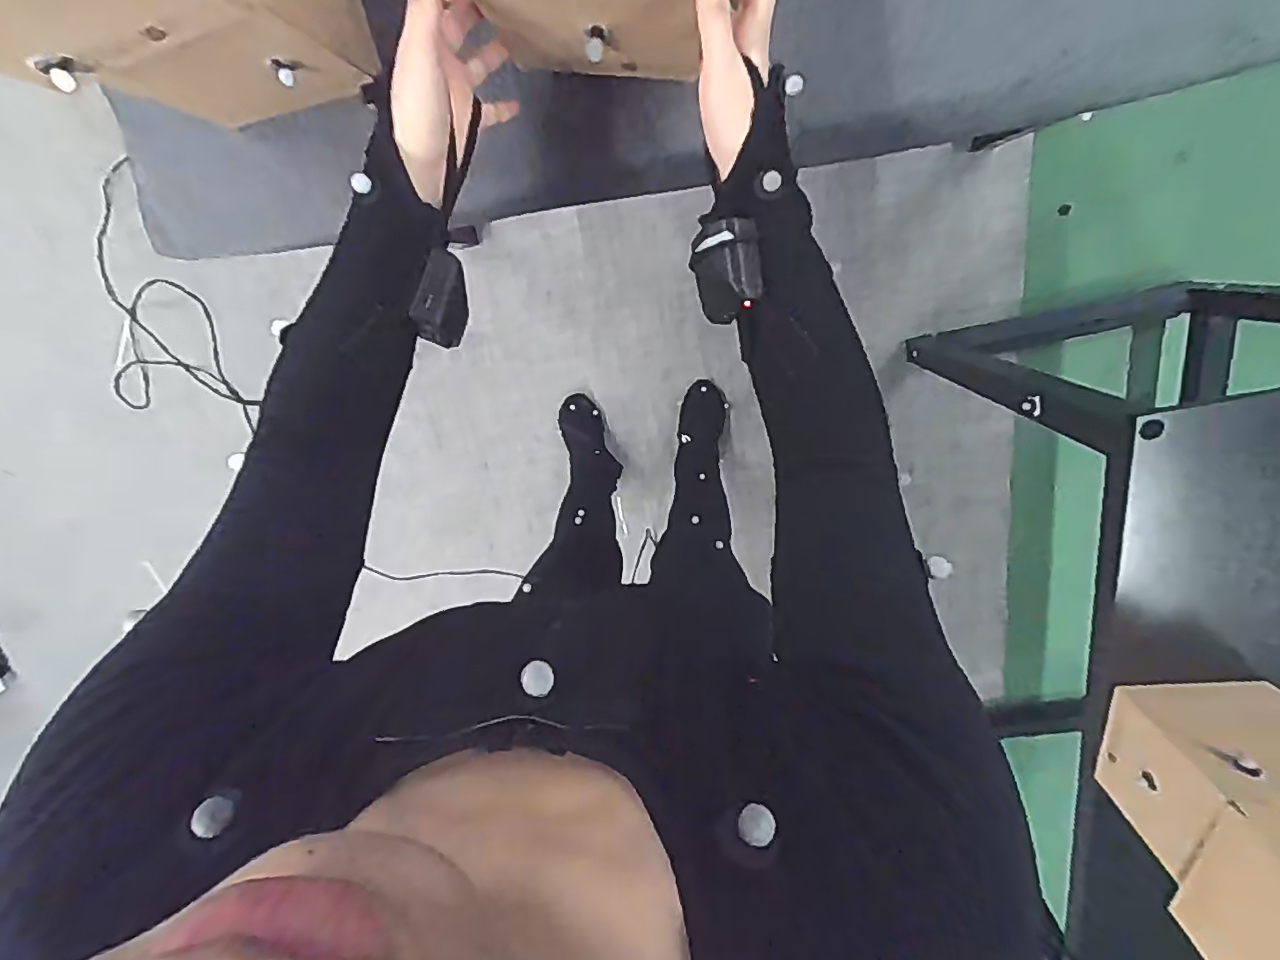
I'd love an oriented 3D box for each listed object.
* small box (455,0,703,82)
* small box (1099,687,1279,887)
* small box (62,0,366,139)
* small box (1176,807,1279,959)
[{"bbox_3d":[-0.033,-0.415,0.387,0.168,0.176,0.179,5,109,3],"label":"small box"},{"bbox_3d":[0.699,0.367,0.639,0.179,0.176,0.168,-5,112,8],"label":"small box"},{"bbox_3d":[-0.356,-0.406,0.438,0.179,0.176,0.168,-9,108,10],"label":"small box"},{"bbox_3d":[0.665,0.443,0.498,0.168,0.176,0.179,2,112,5],"label":"small box"}]
